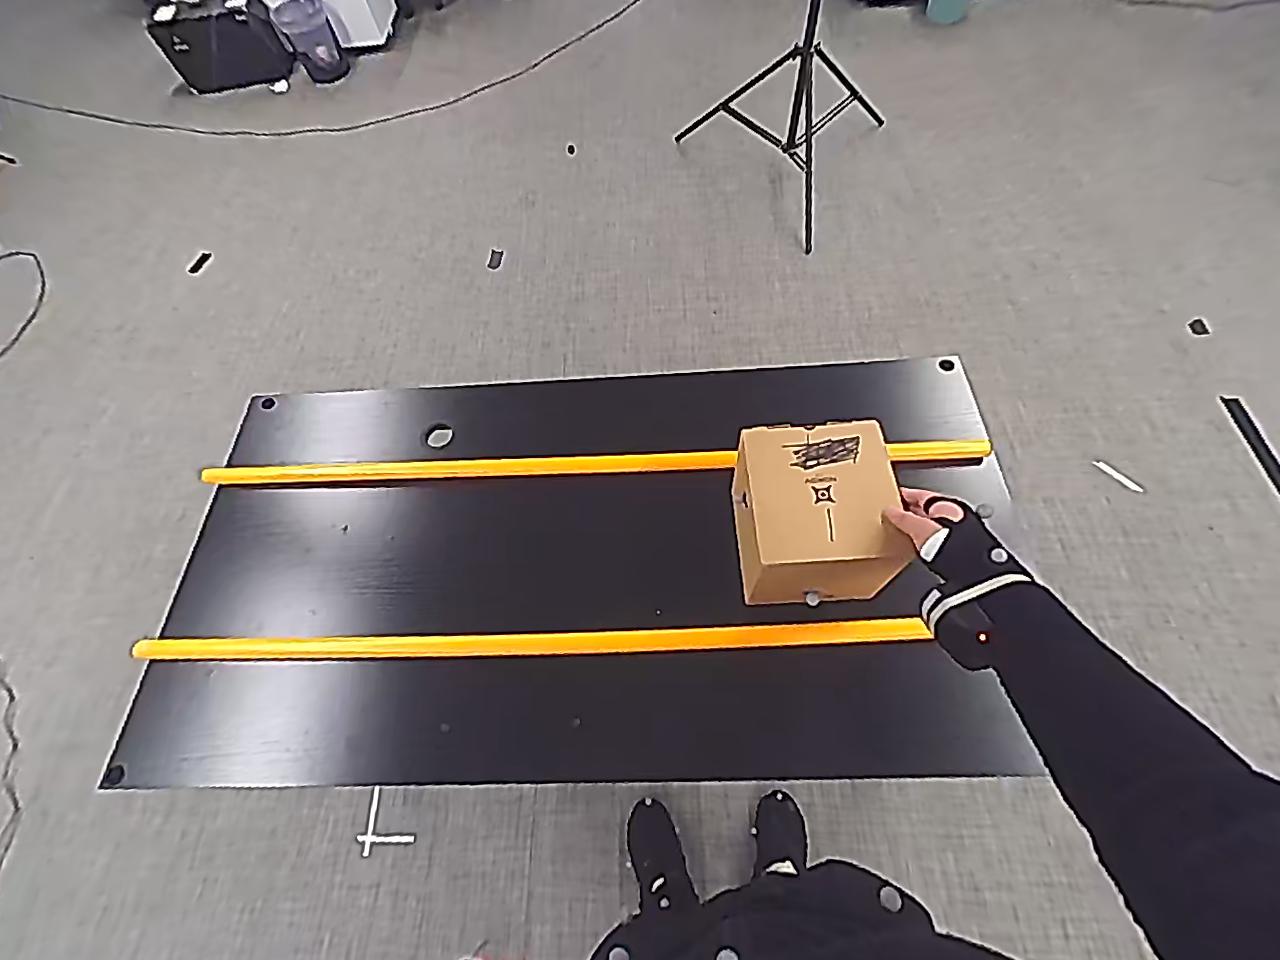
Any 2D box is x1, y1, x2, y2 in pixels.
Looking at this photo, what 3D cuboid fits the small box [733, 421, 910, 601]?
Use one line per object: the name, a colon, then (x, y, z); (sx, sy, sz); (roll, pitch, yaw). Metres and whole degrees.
small box: (0.214, 0.045, 0.694); (0.168, 0.176, 0.179); (-4, 62, 4)
